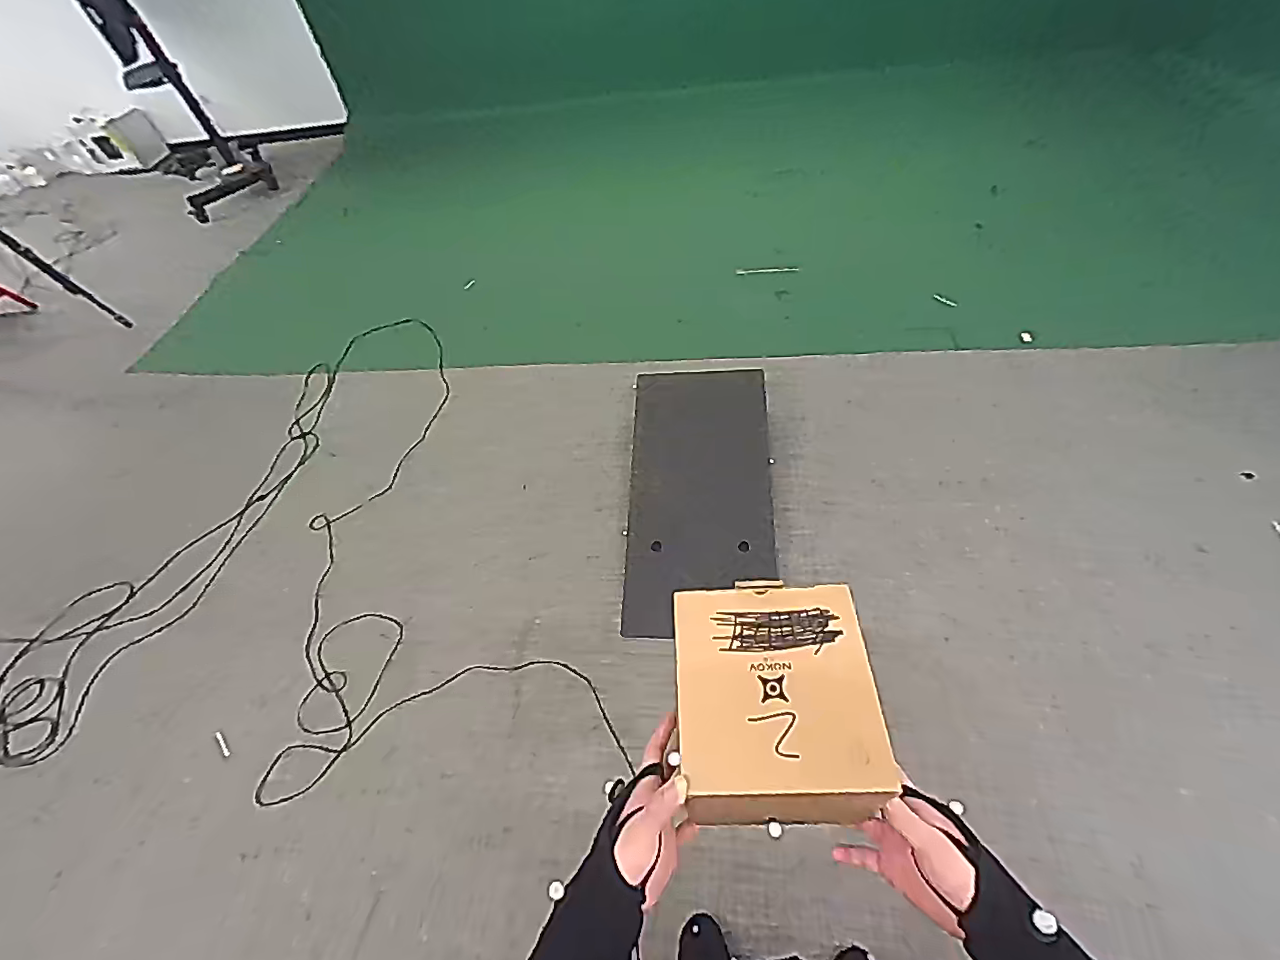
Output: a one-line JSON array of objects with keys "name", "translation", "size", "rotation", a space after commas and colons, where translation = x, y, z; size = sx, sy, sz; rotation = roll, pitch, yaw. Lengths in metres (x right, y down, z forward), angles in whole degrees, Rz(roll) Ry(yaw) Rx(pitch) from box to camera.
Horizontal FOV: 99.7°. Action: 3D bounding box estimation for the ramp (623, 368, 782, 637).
[{"name": "ramp", "translation": [0.211, 0.029, 1.865], "size": [0.509, 0.206, 0.991], "rotation": [-2, 53, 6]}]
